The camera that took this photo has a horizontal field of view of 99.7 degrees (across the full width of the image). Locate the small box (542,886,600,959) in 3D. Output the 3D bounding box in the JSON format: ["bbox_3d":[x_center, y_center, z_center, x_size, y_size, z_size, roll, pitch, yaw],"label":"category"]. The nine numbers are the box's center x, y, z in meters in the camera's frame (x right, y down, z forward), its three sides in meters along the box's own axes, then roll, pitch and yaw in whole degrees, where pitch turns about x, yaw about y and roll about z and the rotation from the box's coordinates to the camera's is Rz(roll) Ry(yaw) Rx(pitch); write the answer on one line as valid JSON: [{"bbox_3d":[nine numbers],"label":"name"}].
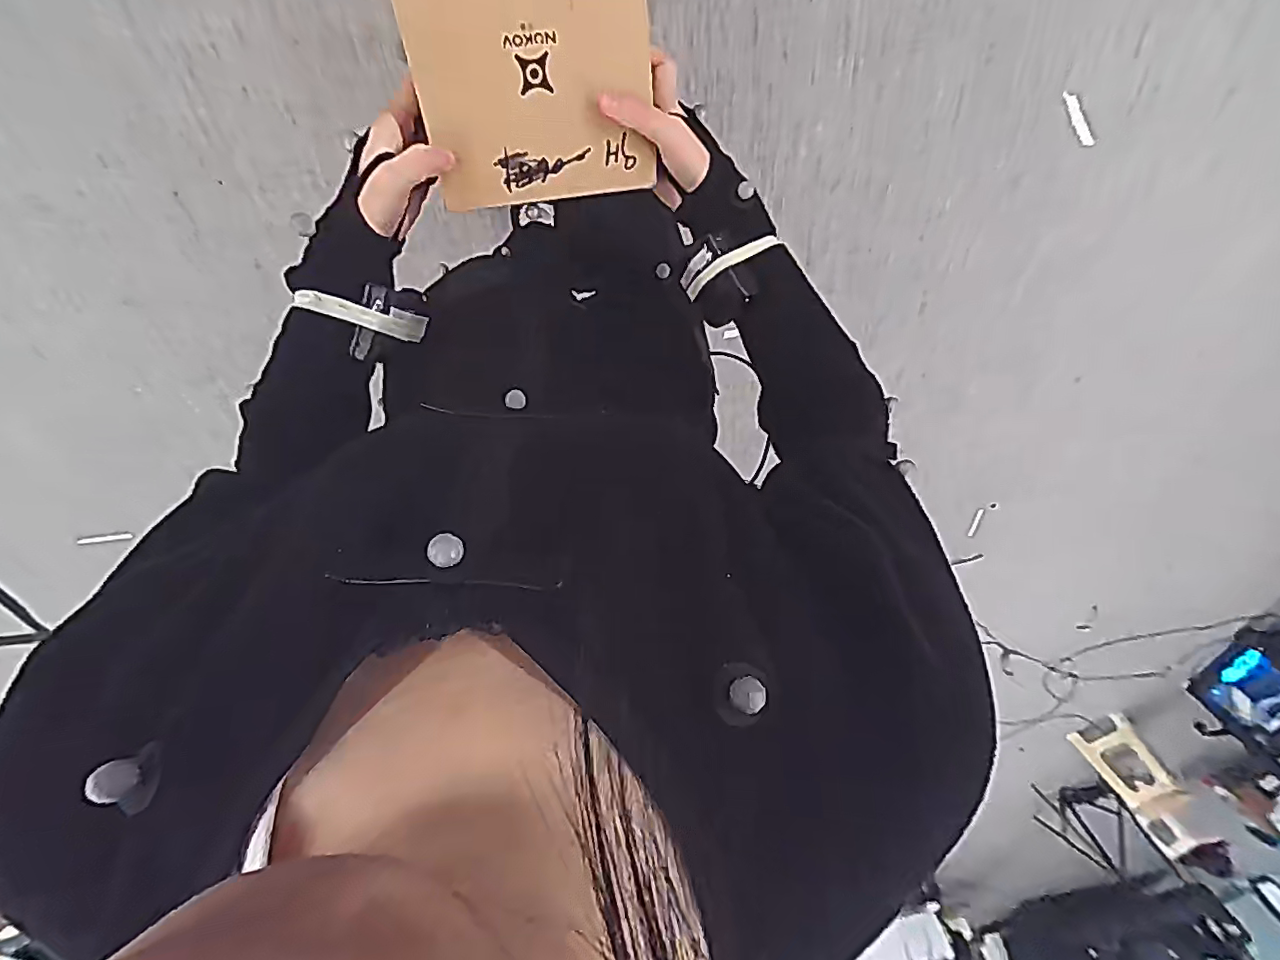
[{"bbox_3d":[-0.238,1.538,1.866,0.179,0.176,0.168,-8,129,-4],"label":"small box"}]

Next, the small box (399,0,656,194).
[{"bbox_3d":[-0.092,-0.337,0.432,0.168,0.176,0.179,-12,123,-8],"label":"small box"}]
